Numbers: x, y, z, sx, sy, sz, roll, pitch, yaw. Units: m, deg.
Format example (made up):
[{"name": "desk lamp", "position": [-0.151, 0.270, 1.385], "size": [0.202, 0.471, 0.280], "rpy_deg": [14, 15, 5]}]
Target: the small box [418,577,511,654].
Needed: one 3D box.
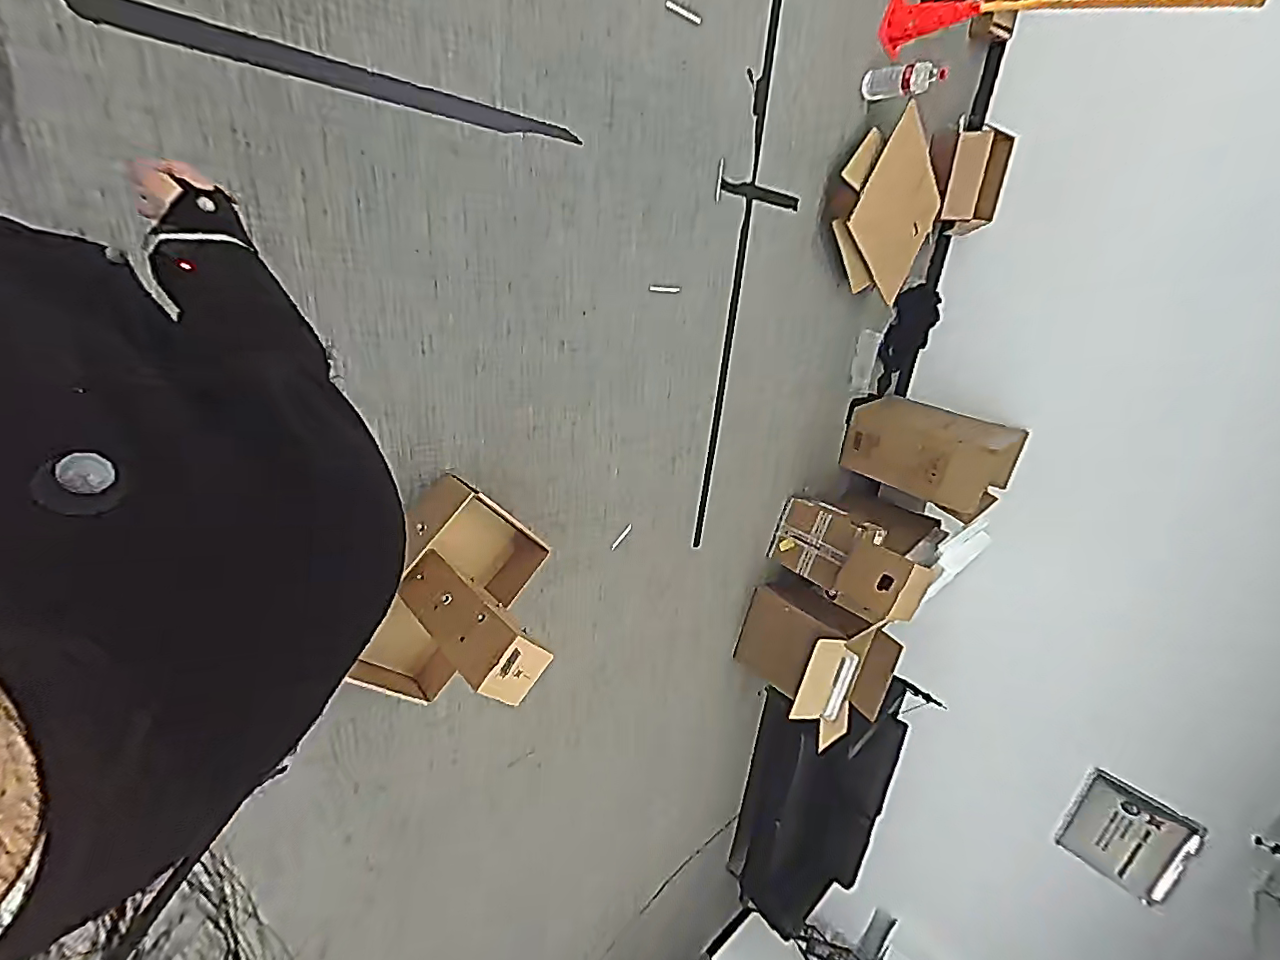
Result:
[{"name": "small box", "position": [-0.490, 0.403, 1.540], "size": [0.168, 0.176, 0.179], "rpy_deg": [-52, 138, -14]}]

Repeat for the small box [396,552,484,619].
[{"name": "small box", "position": [-0.600, 0.346, 1.645], "size": [0.168, 0.176, 0.179], "rpy_deg": [-51, 138, -15]}]

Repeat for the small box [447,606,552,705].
[{"name": "small box", "position": [-0.375, 0.461, 1.438], "size": [0.168, 0.176, 0.179], "rpy_deg": [-52, 140, -13]}]
